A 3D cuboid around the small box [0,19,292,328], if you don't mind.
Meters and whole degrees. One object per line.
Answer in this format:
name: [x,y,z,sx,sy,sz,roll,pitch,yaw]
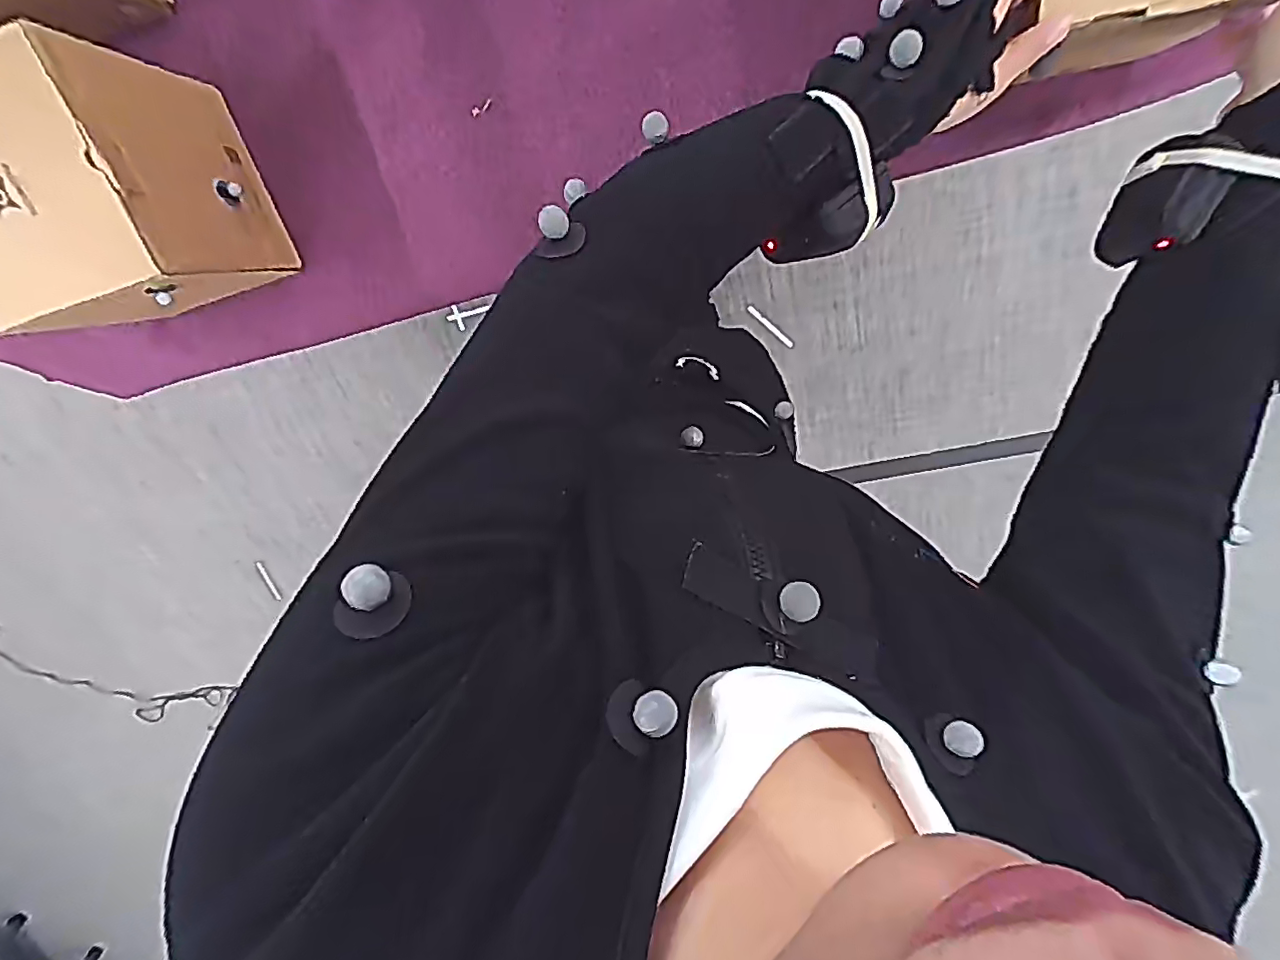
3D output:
small box: [-0.461,-0.243,0.472,0.179,0.176,0.168,-14,111,9]
